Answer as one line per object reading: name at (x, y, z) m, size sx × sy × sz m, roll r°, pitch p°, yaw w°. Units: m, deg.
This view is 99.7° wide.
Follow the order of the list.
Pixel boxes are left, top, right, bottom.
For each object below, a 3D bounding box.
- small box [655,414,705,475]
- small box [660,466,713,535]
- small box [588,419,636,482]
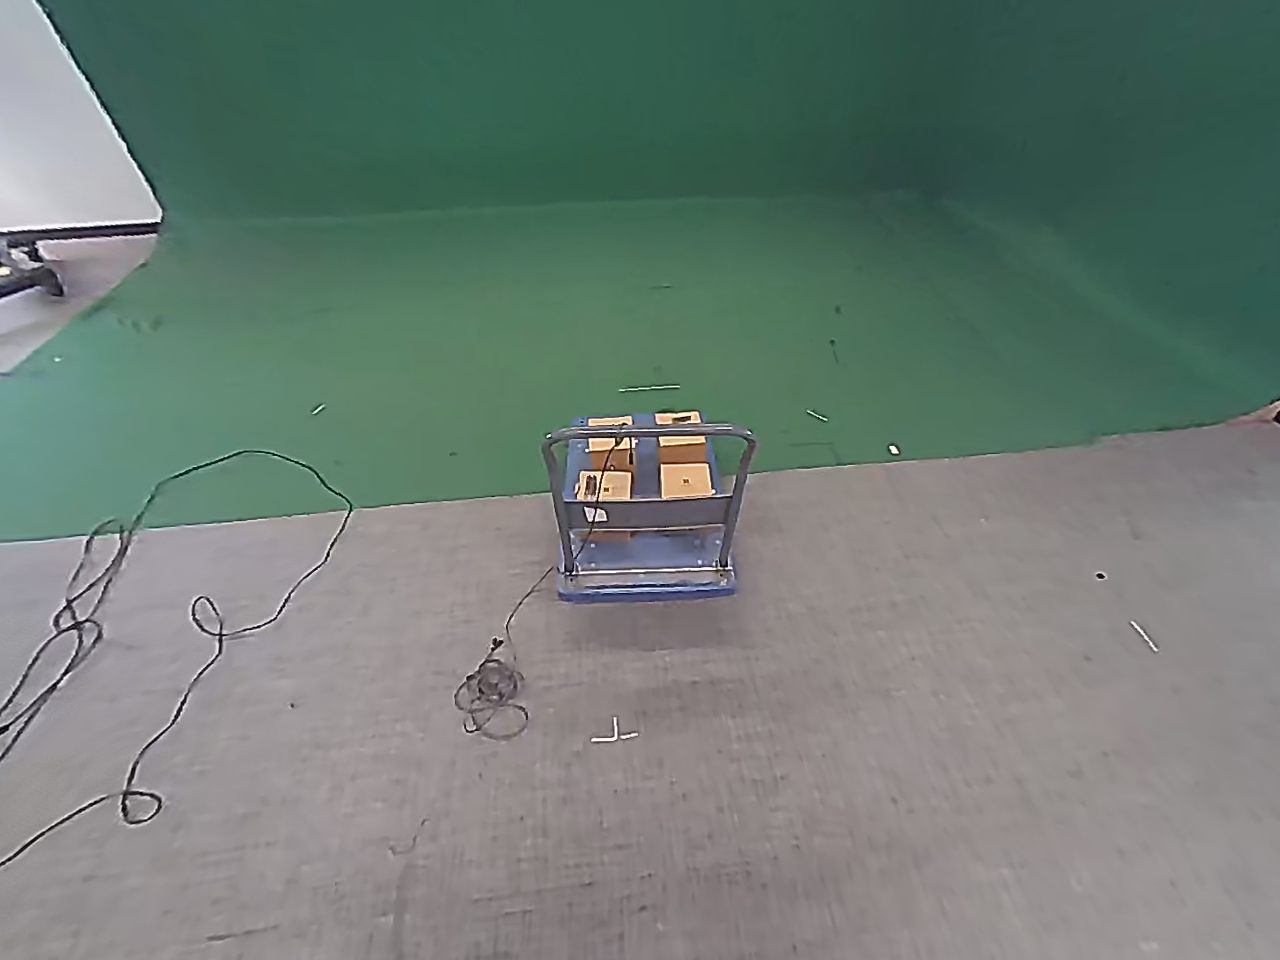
small box at (0.146, -0.127, 2.033) m, size 0.168 × 0.176 × 0.179 m, roll -5°, pitch 48°, yaw -2°
small box at (0.154, 0.070, 1.848) m, size 0.168 × 0.176 × 0.179 m, roll -1°, pitch 47°, yaw 0°
small box at (-0.104, -0.106, 2.019) m, size 0.168 × 0.176 × 0.179 m, roll -4°, pitch 46°, yaw -3°
